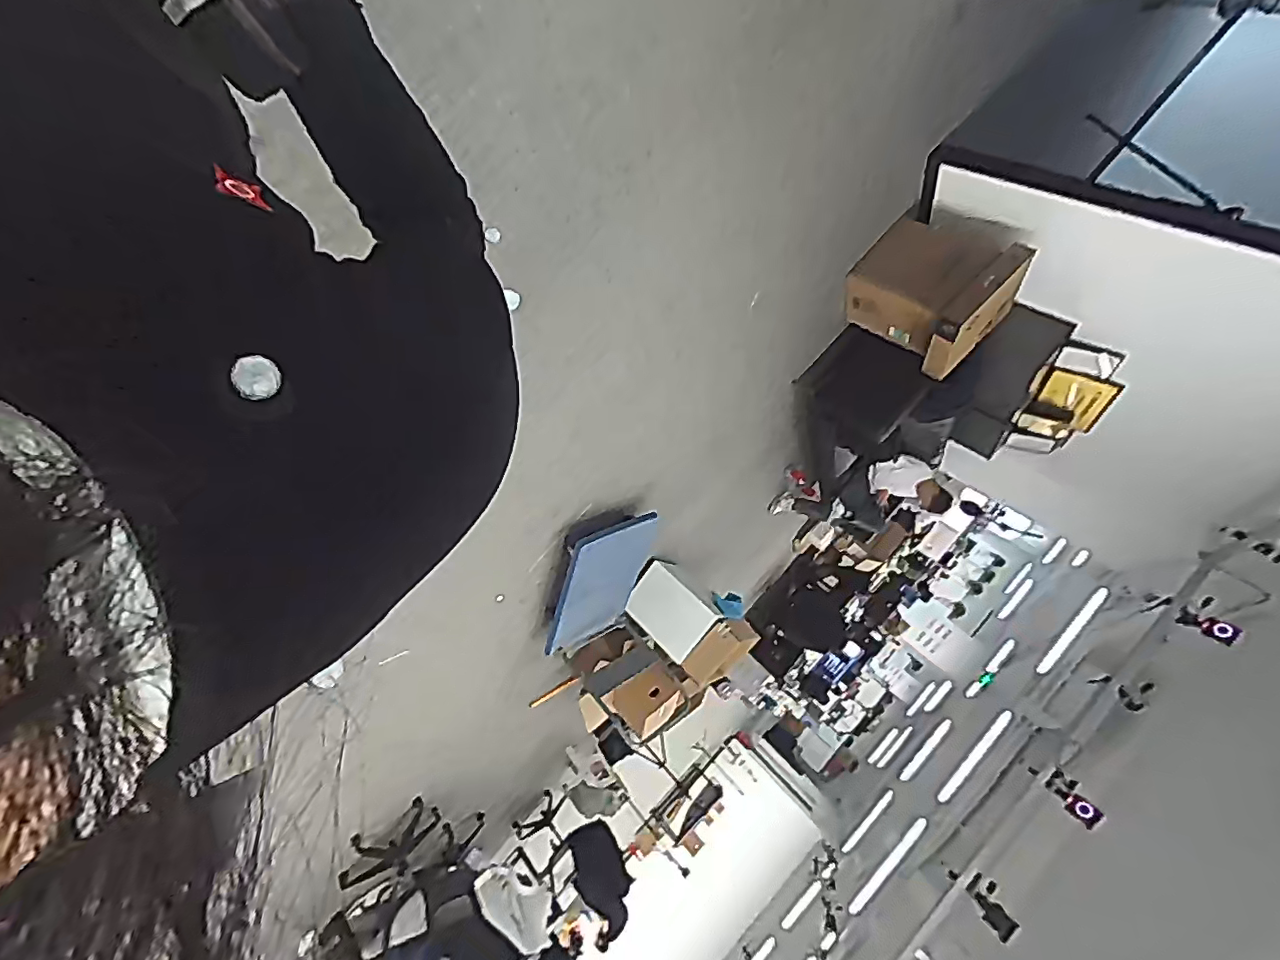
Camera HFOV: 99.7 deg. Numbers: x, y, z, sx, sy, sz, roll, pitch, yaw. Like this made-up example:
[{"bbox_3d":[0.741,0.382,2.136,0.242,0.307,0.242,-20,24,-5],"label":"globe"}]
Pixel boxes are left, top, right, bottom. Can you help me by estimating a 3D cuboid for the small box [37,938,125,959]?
[{"bbox_3d":[-1.106,1.014,1.003,0.168,0.176,0.179,-45,151,-9],"label":"small box"}]
